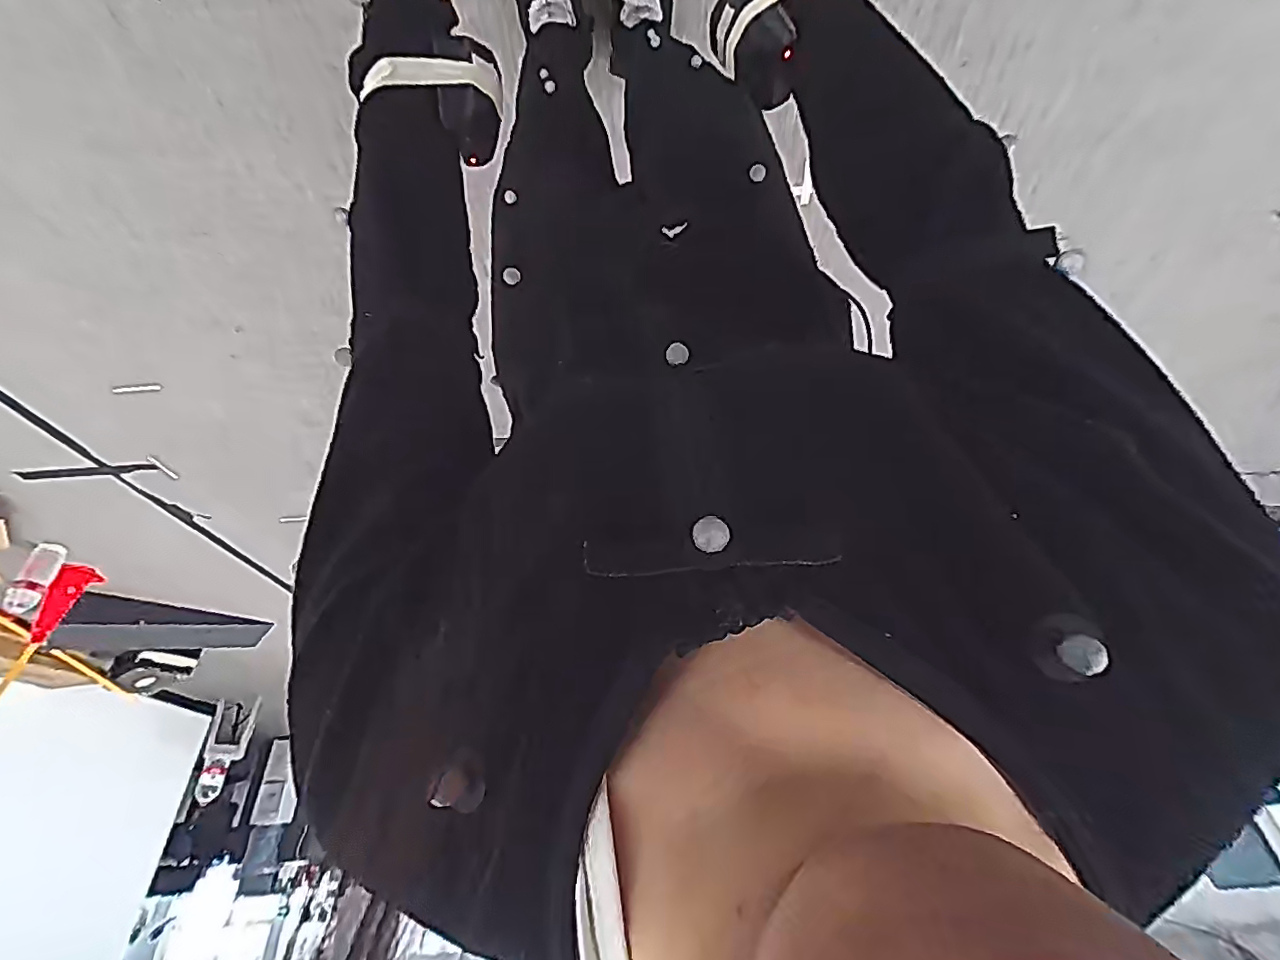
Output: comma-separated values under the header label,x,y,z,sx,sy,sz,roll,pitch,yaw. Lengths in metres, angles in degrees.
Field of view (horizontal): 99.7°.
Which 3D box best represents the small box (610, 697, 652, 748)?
label,x,y,z,sx,sy,sz,roll,pitch,yaw
small box,-0.038,1.029,2.300,0.168,0.176,0.179,-4,146,0
